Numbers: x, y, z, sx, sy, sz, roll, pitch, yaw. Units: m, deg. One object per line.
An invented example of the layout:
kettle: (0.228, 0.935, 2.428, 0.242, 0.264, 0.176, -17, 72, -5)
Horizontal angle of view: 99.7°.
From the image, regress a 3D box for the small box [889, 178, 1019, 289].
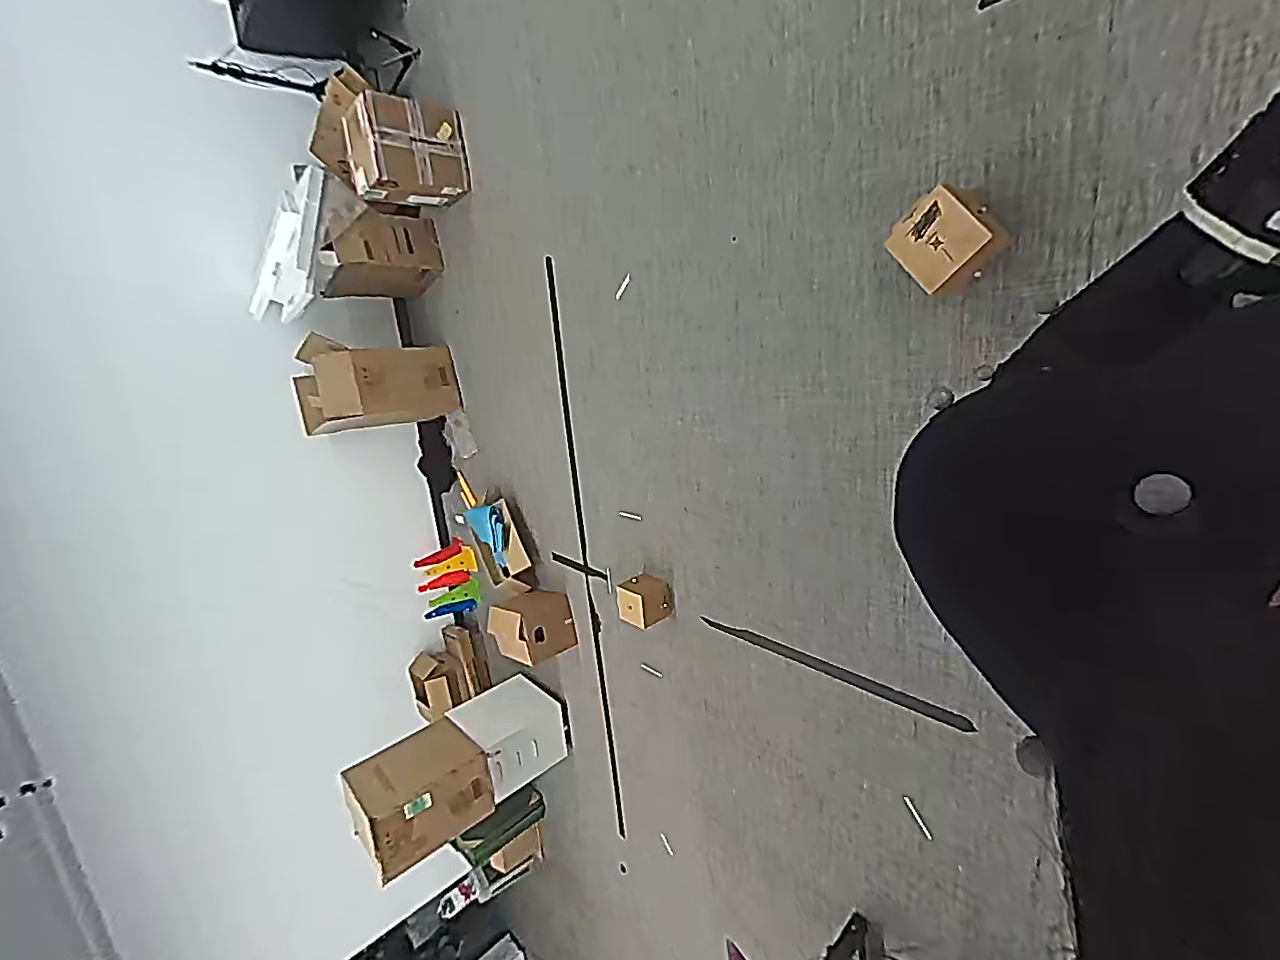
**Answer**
small box: (0.732, -0.566, 1.261, 0.179, 0.176, 0.168, 58, 139, 17)

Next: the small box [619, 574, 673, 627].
small box: (0.029, 0.542, 2.465, 0.179, 0.176, 0.168, 9, 110, 47)
